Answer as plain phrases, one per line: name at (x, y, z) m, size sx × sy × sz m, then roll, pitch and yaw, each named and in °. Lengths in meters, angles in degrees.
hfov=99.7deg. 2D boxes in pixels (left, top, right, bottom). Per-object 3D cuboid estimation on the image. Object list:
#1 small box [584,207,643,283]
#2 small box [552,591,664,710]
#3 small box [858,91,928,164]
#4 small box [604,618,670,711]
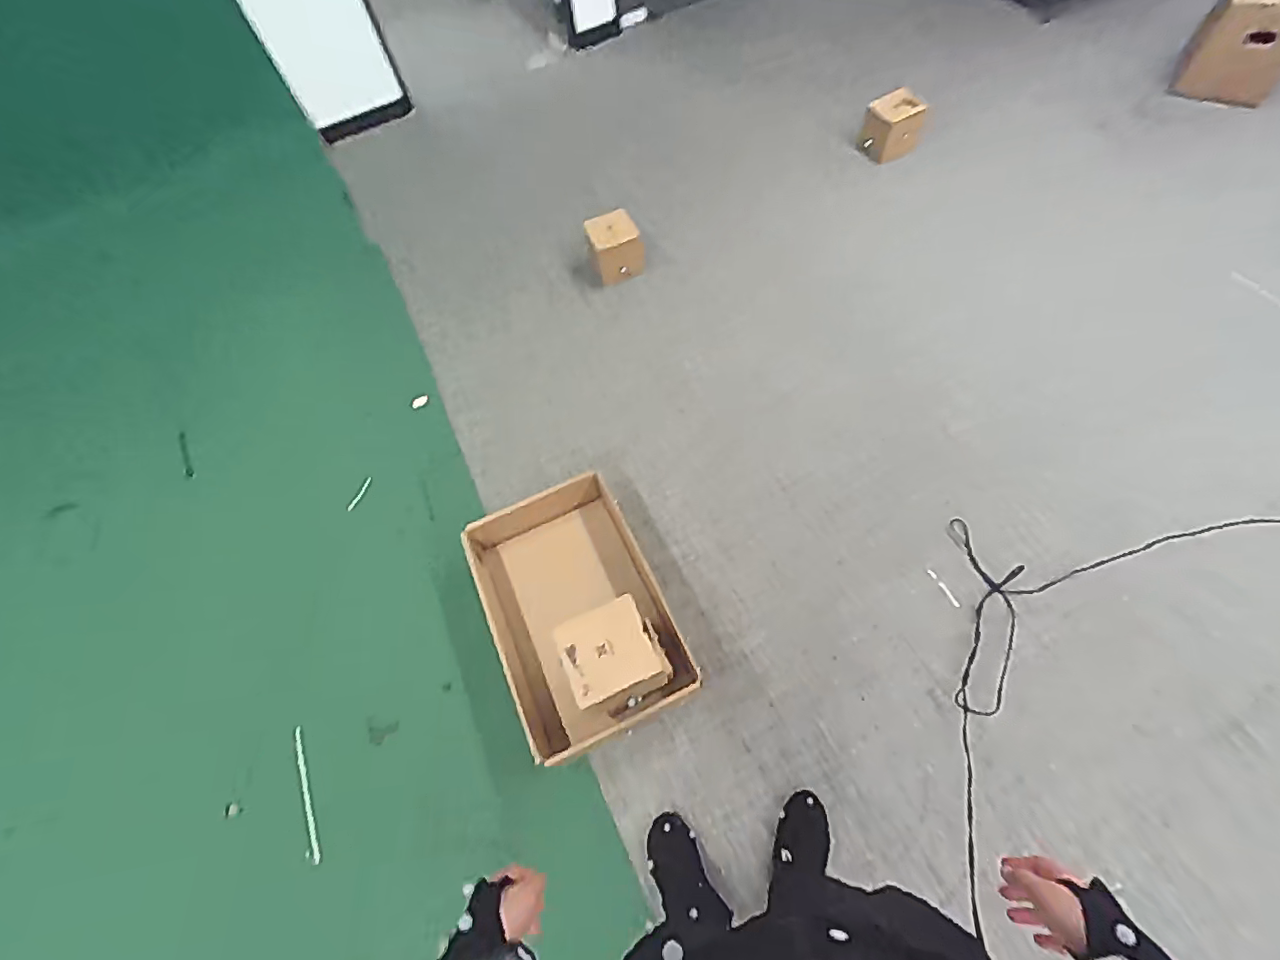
small box at (-0.097, -0.875, 2.021) m, size 0.168 × 0.176 × 0.179 m, roll -22°, pitch 62°, yaw -5°
small box at (-0.061, 0.354, 1.113) m, size 0.179 × 0.176 × 0.168 m, roll -23°, pitch 62°, yaw -8°
small box at (1.027, -1.438, 2.211) m, size 0.179 × 0.176 × 0.168 m, roll -26°, pitch 63°, yaw -7°
small box at (-0.040, 0.419, 1.263) m, size 0.179 × 0.176 × 0.168 m, roll -27°, pitch 63°, yaw -10°
